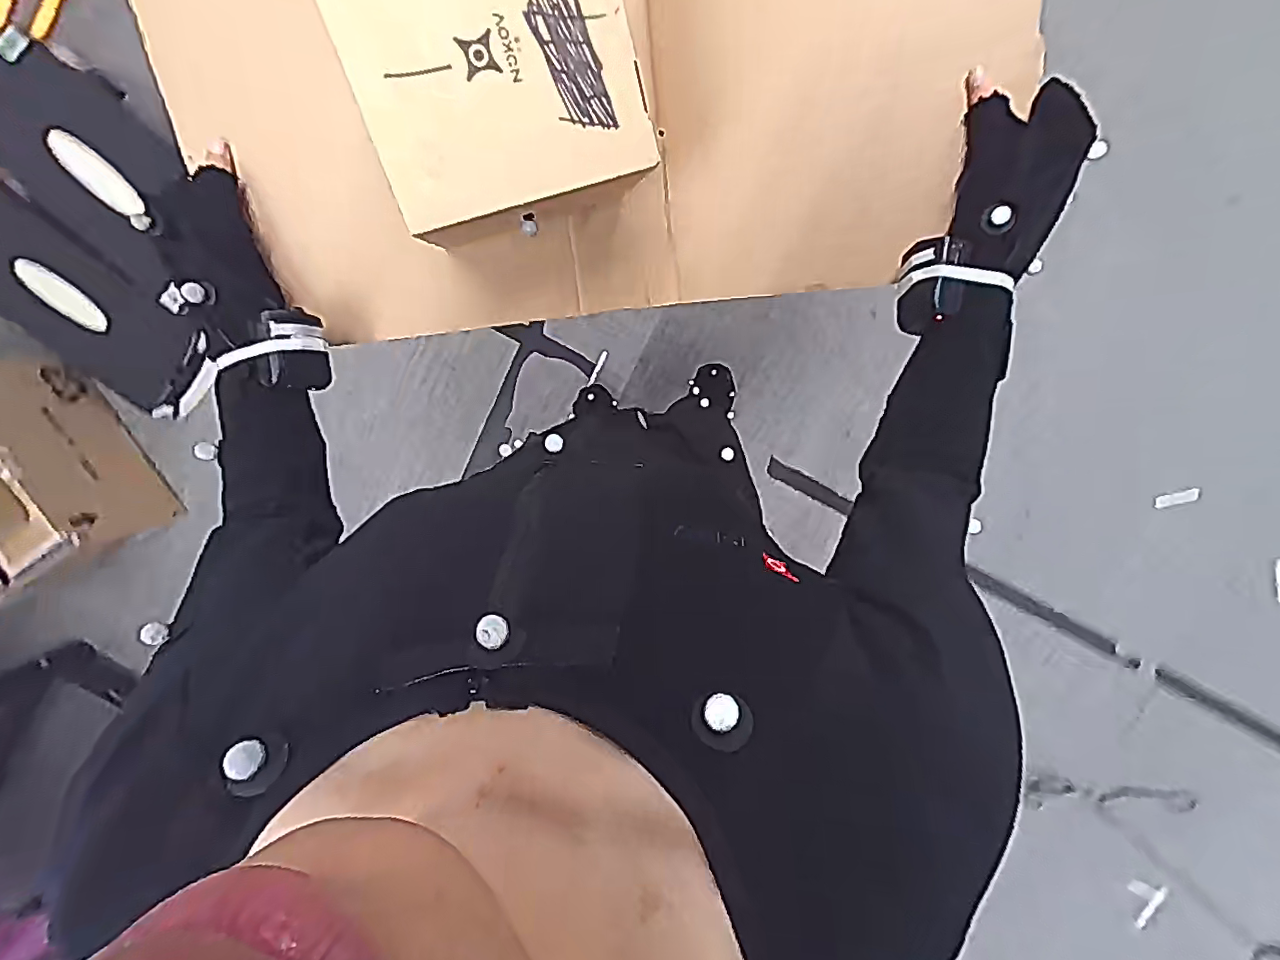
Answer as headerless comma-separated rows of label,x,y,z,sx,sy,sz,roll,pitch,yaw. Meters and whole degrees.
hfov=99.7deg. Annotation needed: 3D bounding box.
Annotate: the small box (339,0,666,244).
small box,-0.097,-0.288,0.412,0.179,0.176,0.168,-17,112,-5
